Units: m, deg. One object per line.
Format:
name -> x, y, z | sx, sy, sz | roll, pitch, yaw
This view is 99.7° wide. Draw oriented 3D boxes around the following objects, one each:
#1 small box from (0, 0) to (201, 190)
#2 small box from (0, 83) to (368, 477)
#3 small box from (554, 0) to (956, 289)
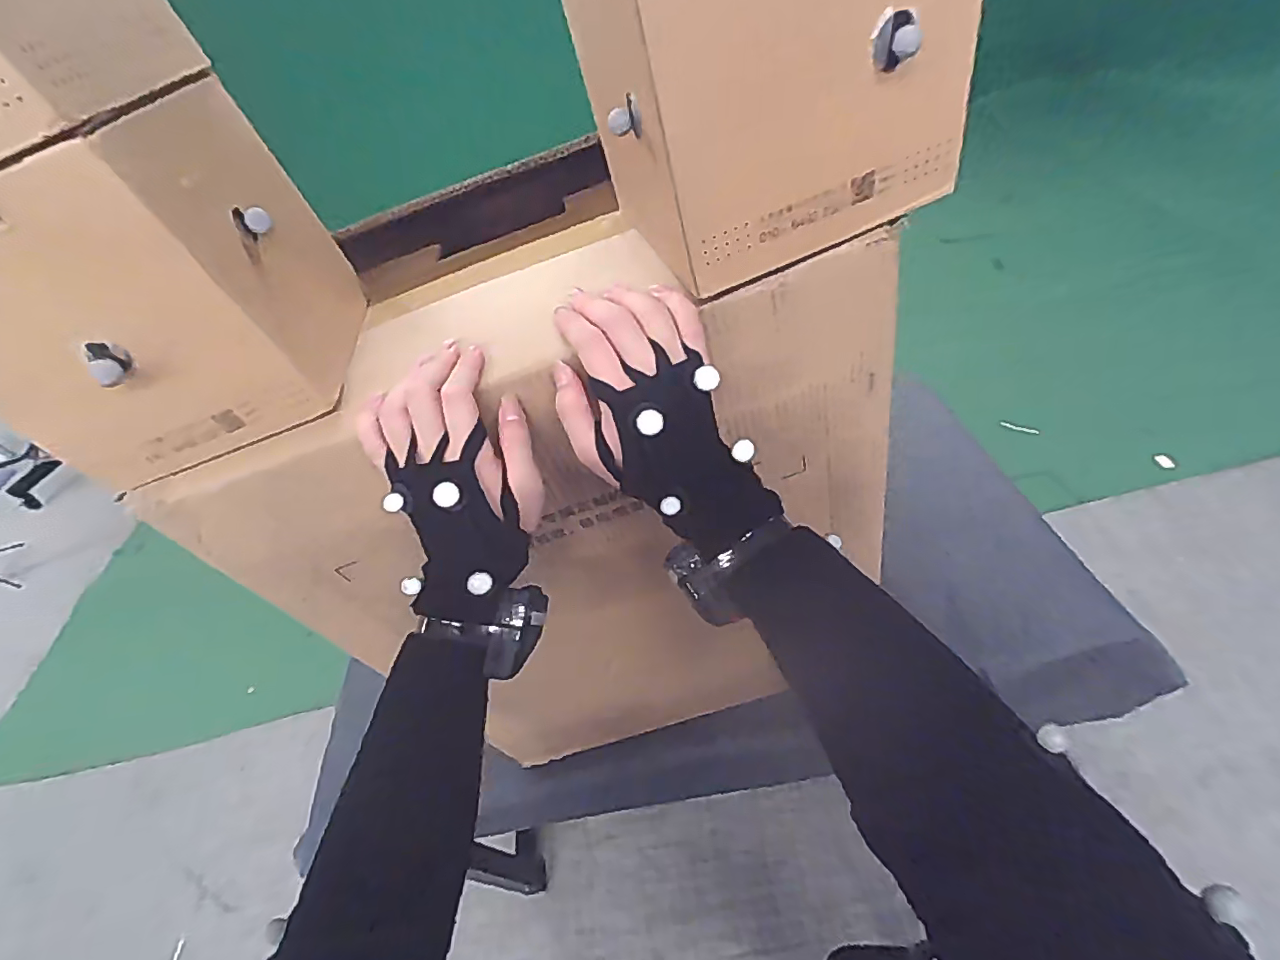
small box -> -0.359, -0.229, 0.246 | 0.168, 0.176, 0.179 | -20, 46, 4
small box -> -0.313, -0.123, 0.363 | 0.168, 0.176, 0.179 | -20, 46, 3
small box -> 0.061, -0.237, 0.320 | 0.168, 0.176, 0.179 | -23, 44, -2
